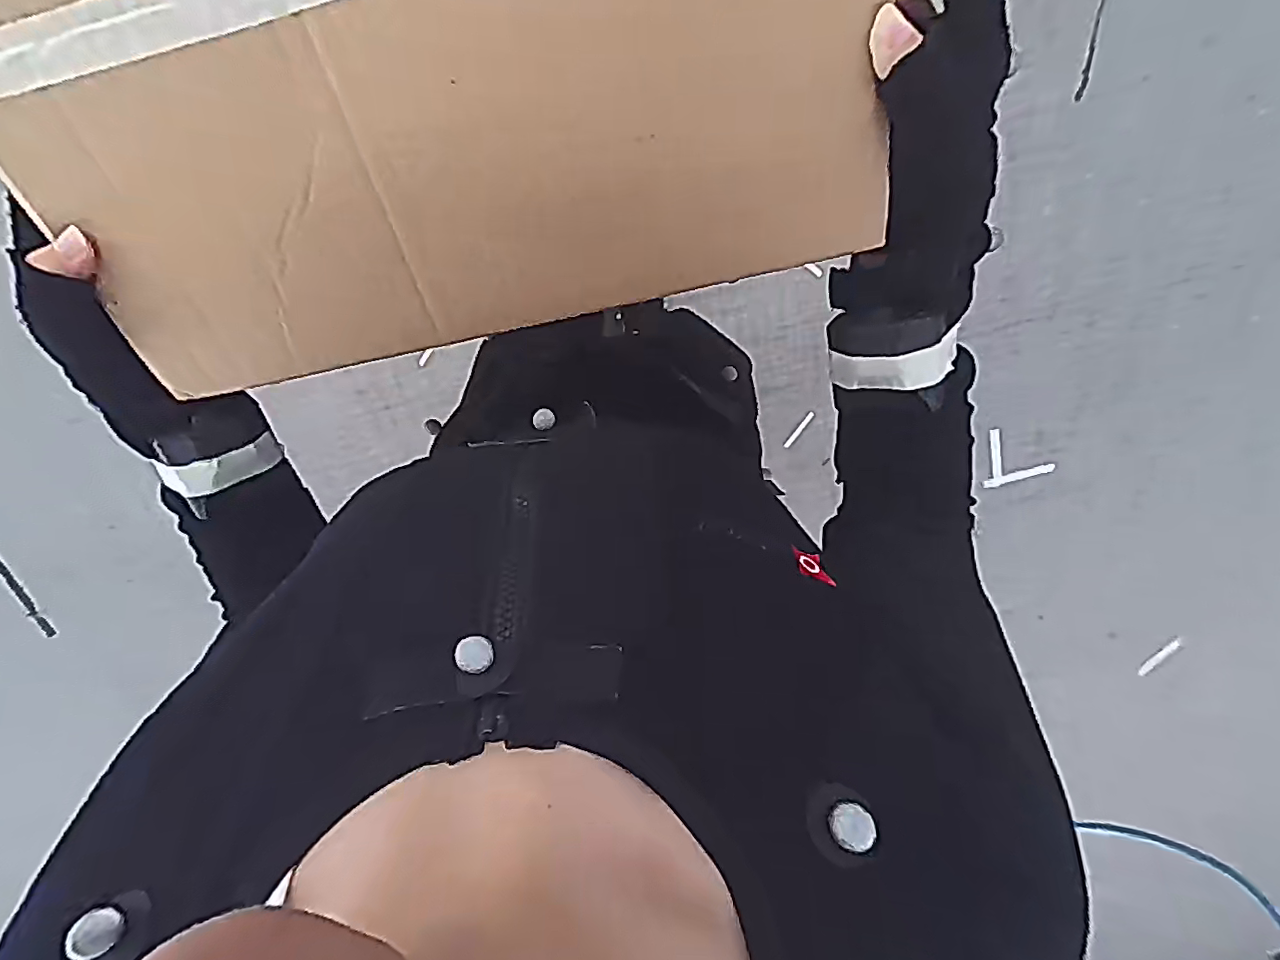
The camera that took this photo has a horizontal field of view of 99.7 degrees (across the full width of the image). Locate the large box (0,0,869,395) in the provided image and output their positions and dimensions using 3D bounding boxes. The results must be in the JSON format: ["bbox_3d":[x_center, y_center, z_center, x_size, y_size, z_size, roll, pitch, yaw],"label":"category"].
[{"bbox_3d":[-0.108,-0.296,0.344,0.408,0.320,0.320,-11,123,7],"label":"large box"}]
